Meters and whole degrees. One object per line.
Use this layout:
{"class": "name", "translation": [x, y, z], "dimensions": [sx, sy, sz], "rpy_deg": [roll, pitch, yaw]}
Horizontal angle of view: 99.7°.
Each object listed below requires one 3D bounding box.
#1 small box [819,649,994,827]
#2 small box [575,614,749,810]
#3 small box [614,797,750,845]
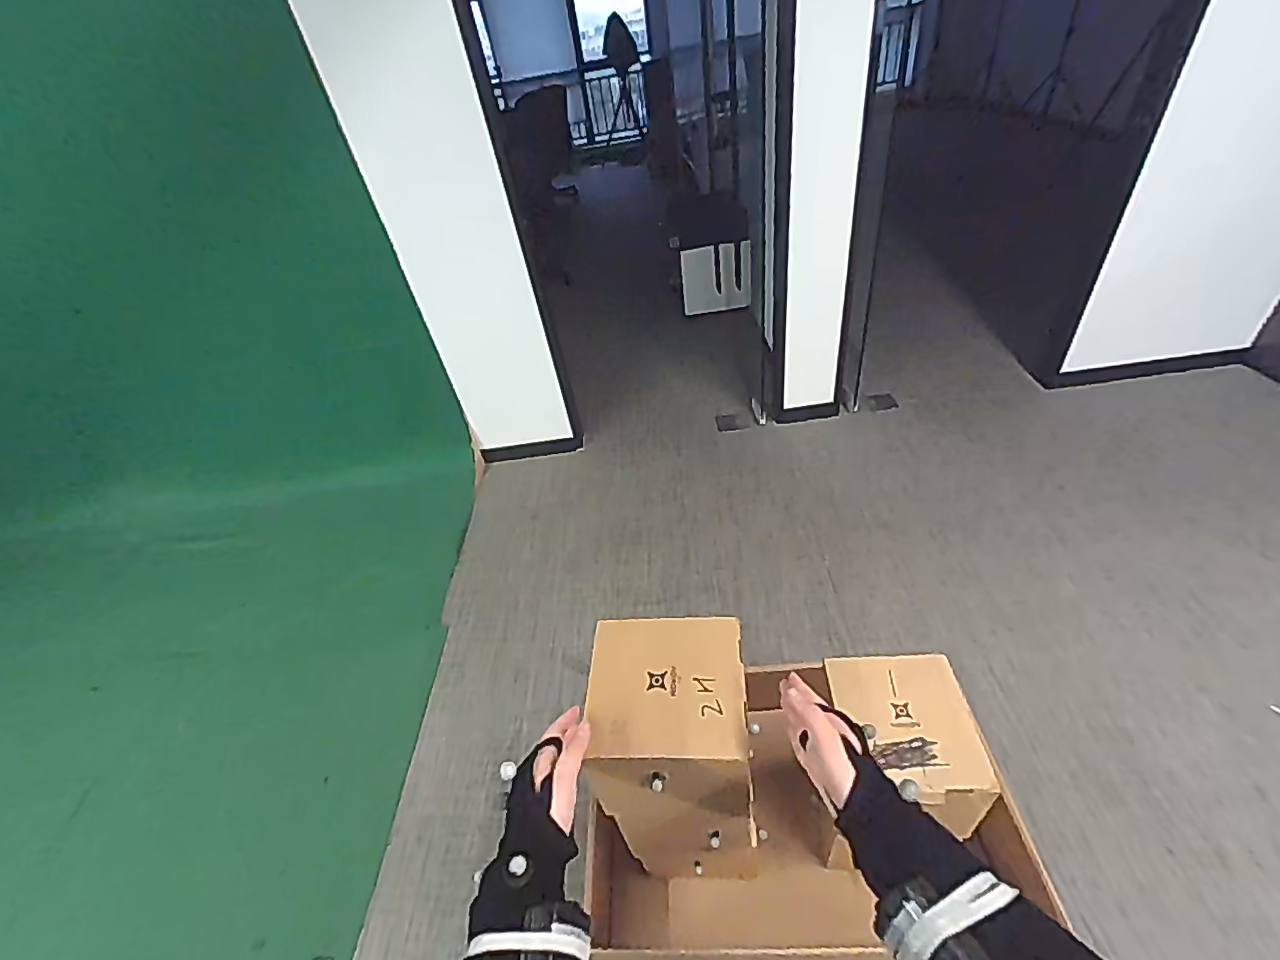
{"class": "small box", "translation": [0.347, 0.356, 0.743], "dimensions": [0.168, 0.176, 0.179], "rpy_deg": [-5, 40, 9]}
{"class": "small box", "translation": [0.036, 0.281, 0.653], "dimensions": [0.179, 0.176, 0.168], "rpy_deg": [-4, 42, 9]}
{"class": "small box", "translation": [0.064, 0.398, 0.766], "dimensions": [0.168, 0.176, 0.179], "rpy_deg": [-6, 41, 6]}
